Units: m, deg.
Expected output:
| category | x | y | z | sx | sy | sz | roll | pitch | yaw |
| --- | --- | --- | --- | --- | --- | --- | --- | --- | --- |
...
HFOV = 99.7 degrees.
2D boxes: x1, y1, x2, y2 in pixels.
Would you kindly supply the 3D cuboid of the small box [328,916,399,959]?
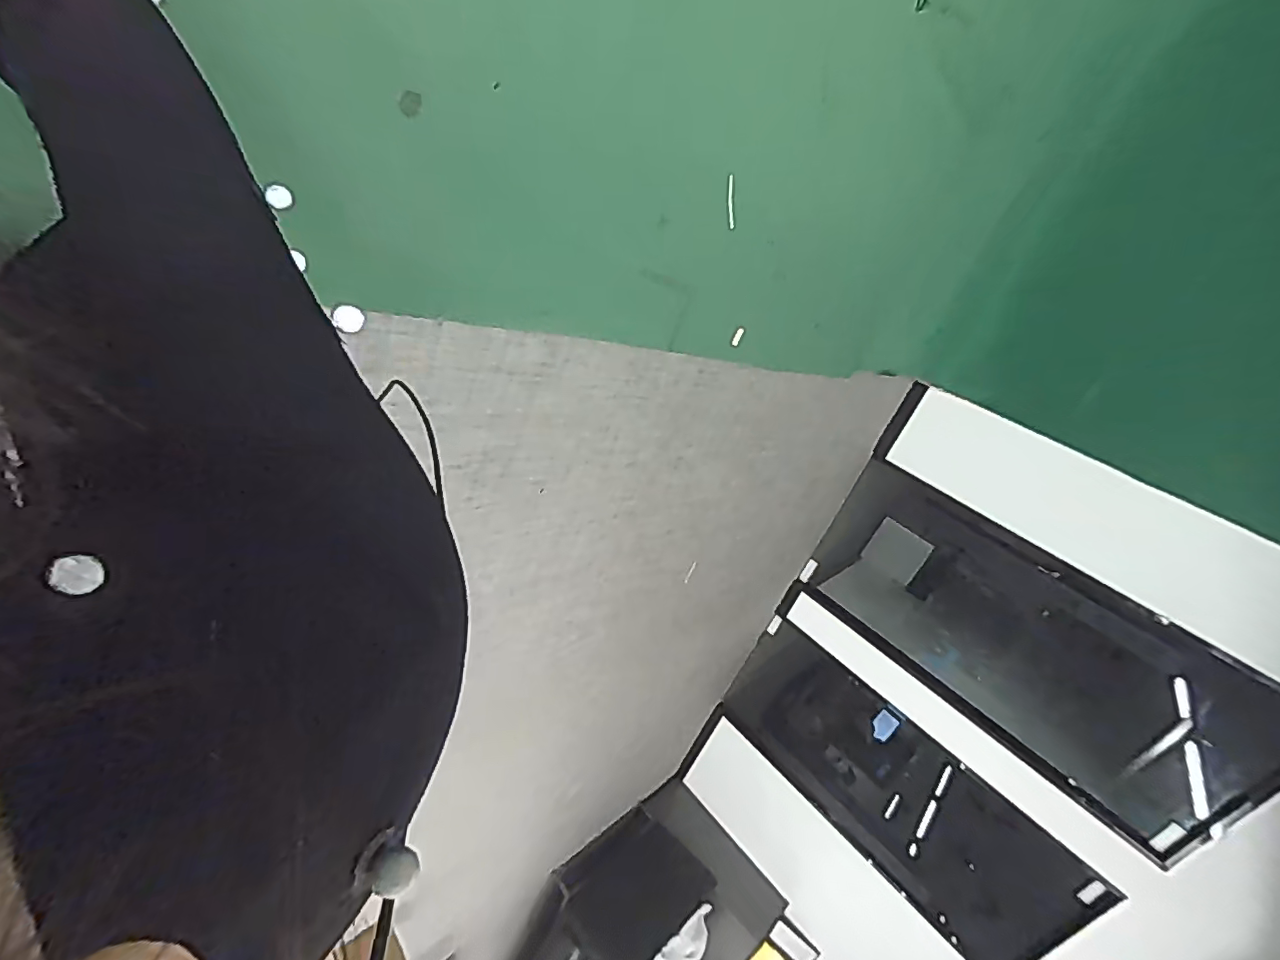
| category | x | y | z | sx | sy | sz | roll | pitch | yaw |
| --- | --- | --- | --- | --- | --- | --- | --- | --- | --- |
| small box | -0.983 | 1.704 | 1.898 | 0.179 | 0.176 | 0.168 | -8 | 129 | -51 |
